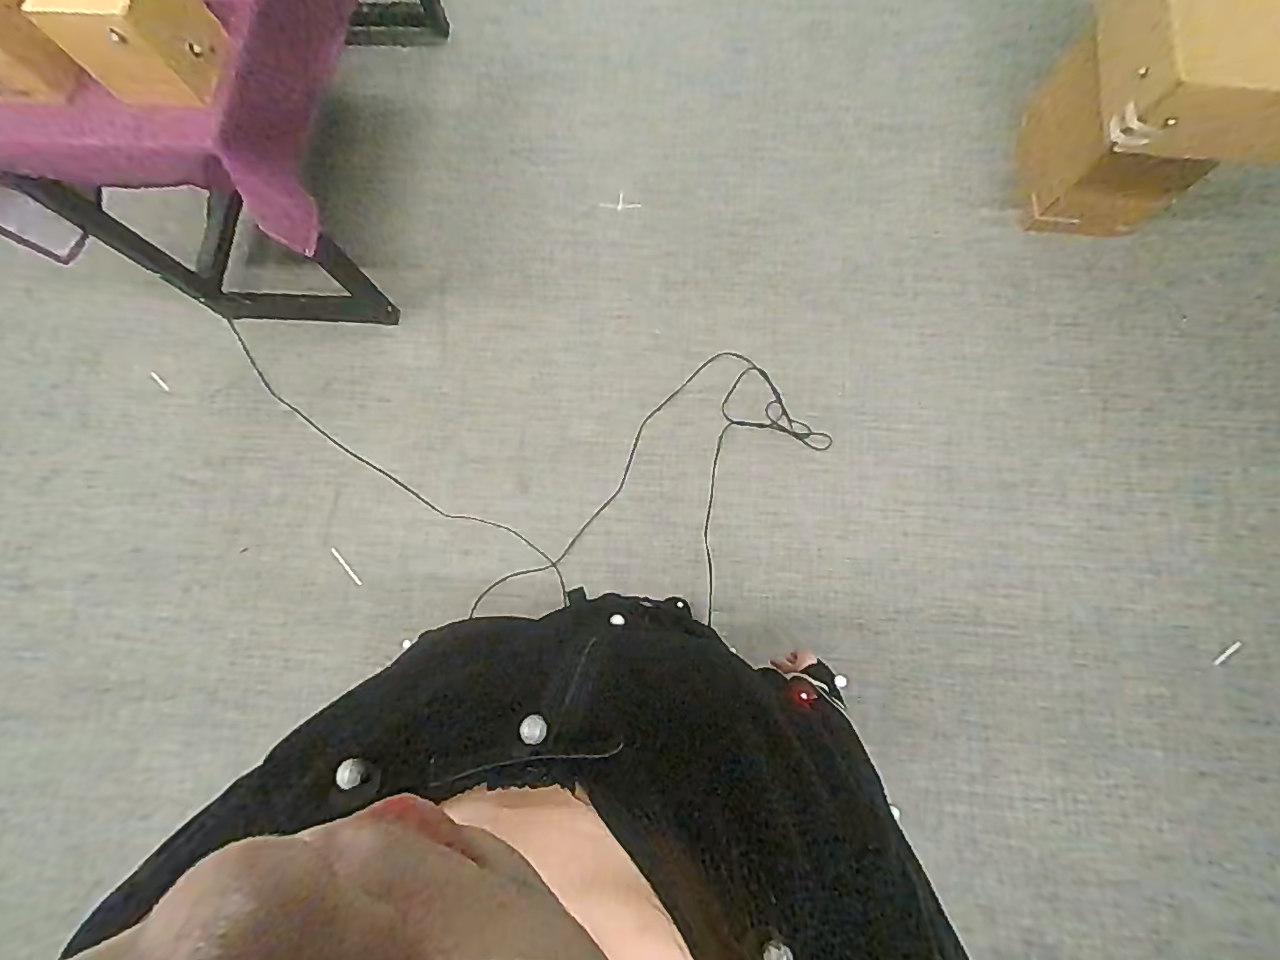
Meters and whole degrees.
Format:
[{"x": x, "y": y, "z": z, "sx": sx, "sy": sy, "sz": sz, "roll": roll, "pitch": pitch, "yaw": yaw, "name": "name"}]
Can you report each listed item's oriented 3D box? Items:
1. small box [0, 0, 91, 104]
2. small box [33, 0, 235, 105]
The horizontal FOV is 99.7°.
[{"x": -1.151, "y": -0.827, "z": 0.975, "sx": 0.168, "sy": 0.176, "sz": 0.179, "roll": 5, "pitch": 78, "yaw": 4, "name": "small box"}, {"x": -0.880, "y": -0.805, "z": 0.958, "sx": 0.179, "sy": 0.176, "sz": 0.168, "roll": 5, "pitch": 78, "yaw": 4, "name": "small box"}]
